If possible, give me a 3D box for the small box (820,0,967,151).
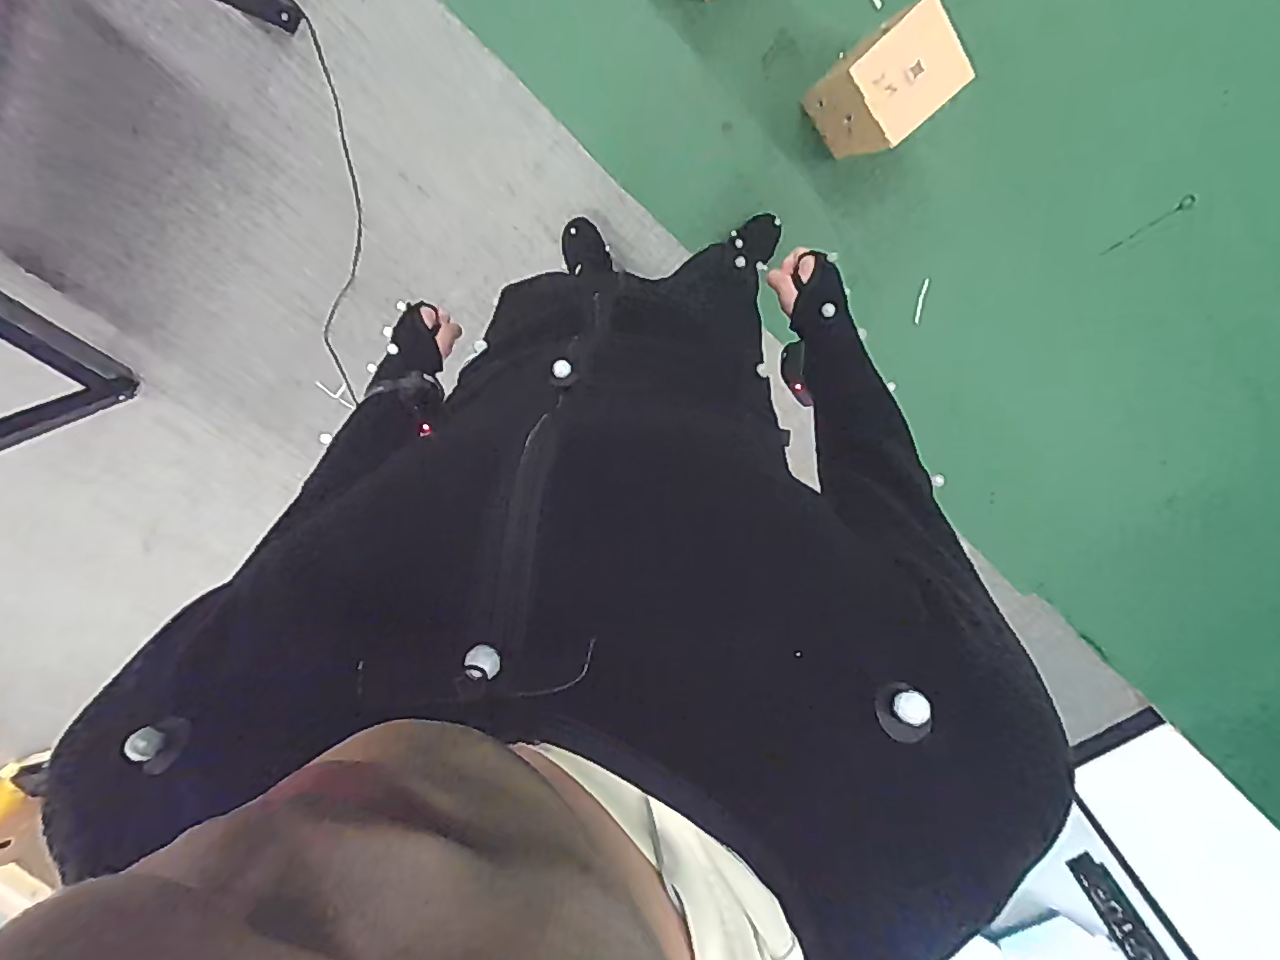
[{"bbox_3d":[0.487,-0.783,1.062,0.179,0.176,0.168,-38,112,18],"label":"small box"}]
